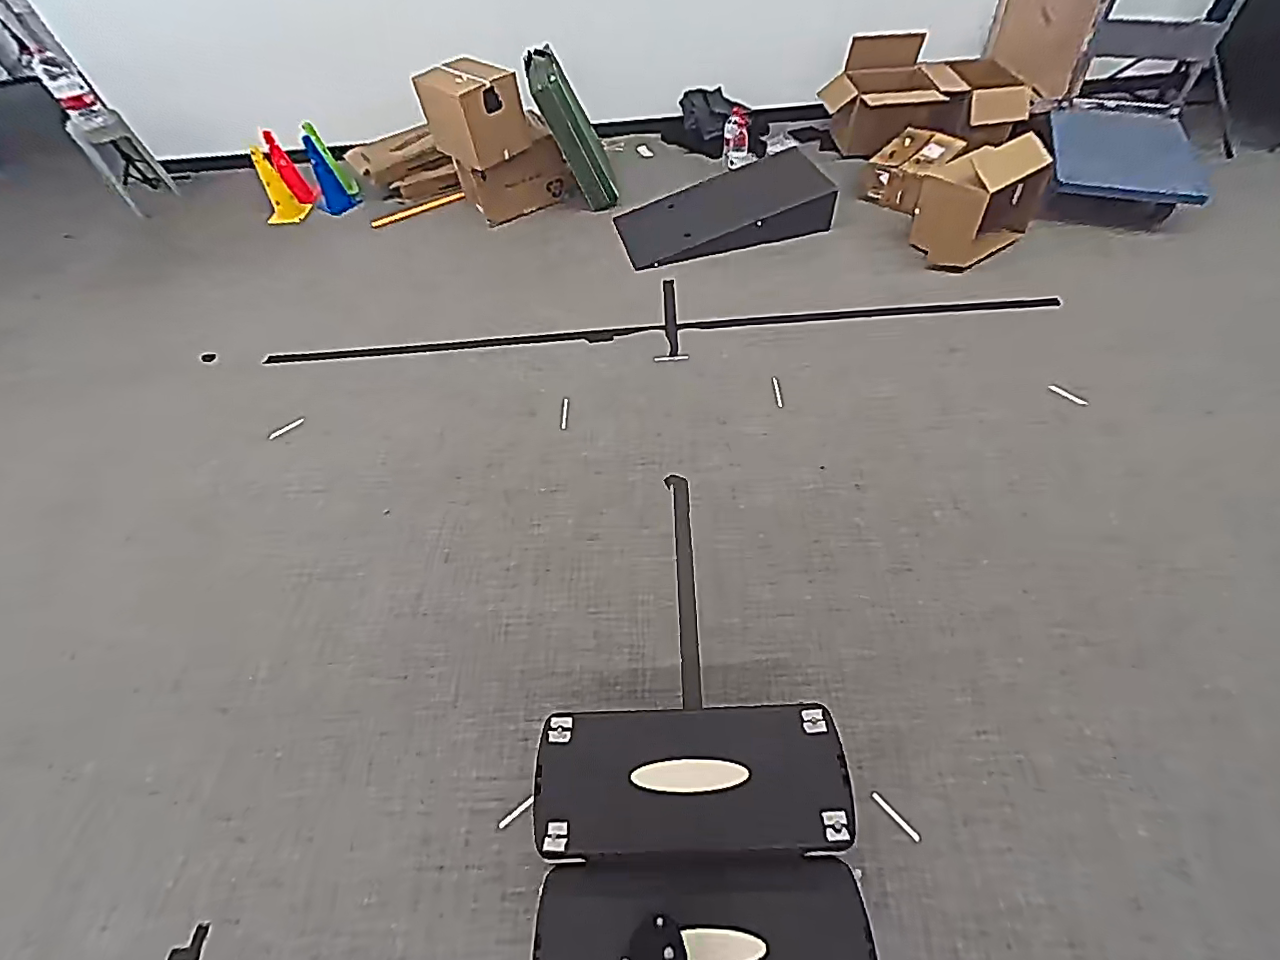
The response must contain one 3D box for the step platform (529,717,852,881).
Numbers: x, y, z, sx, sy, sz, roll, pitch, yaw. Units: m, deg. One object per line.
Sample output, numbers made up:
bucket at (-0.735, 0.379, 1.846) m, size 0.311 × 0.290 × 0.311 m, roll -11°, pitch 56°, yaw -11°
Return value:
step platform at (0.102, 0.702, 1.201) m, size 0.684 × 0.204 × 0.286 m, roll -3°, pitch 55°, yaw 1°
